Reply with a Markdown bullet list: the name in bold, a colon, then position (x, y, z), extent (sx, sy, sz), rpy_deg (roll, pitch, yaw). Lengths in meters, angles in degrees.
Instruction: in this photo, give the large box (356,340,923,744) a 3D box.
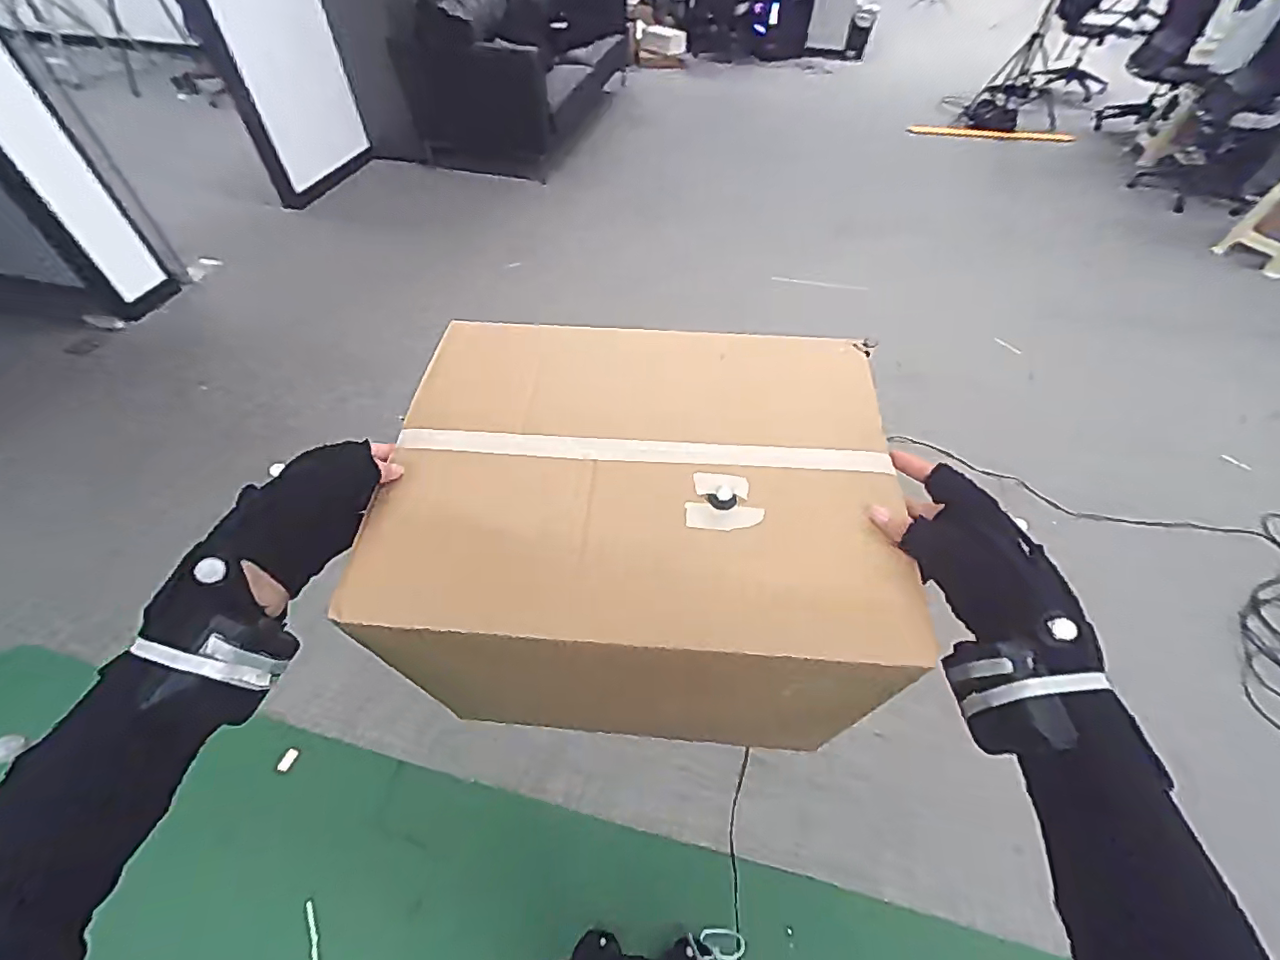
- **large box**: position (0.006, 0.075, 0.577), extent (0.408, 0.320, 0.320), rpy_deg (3, 55, 4)
